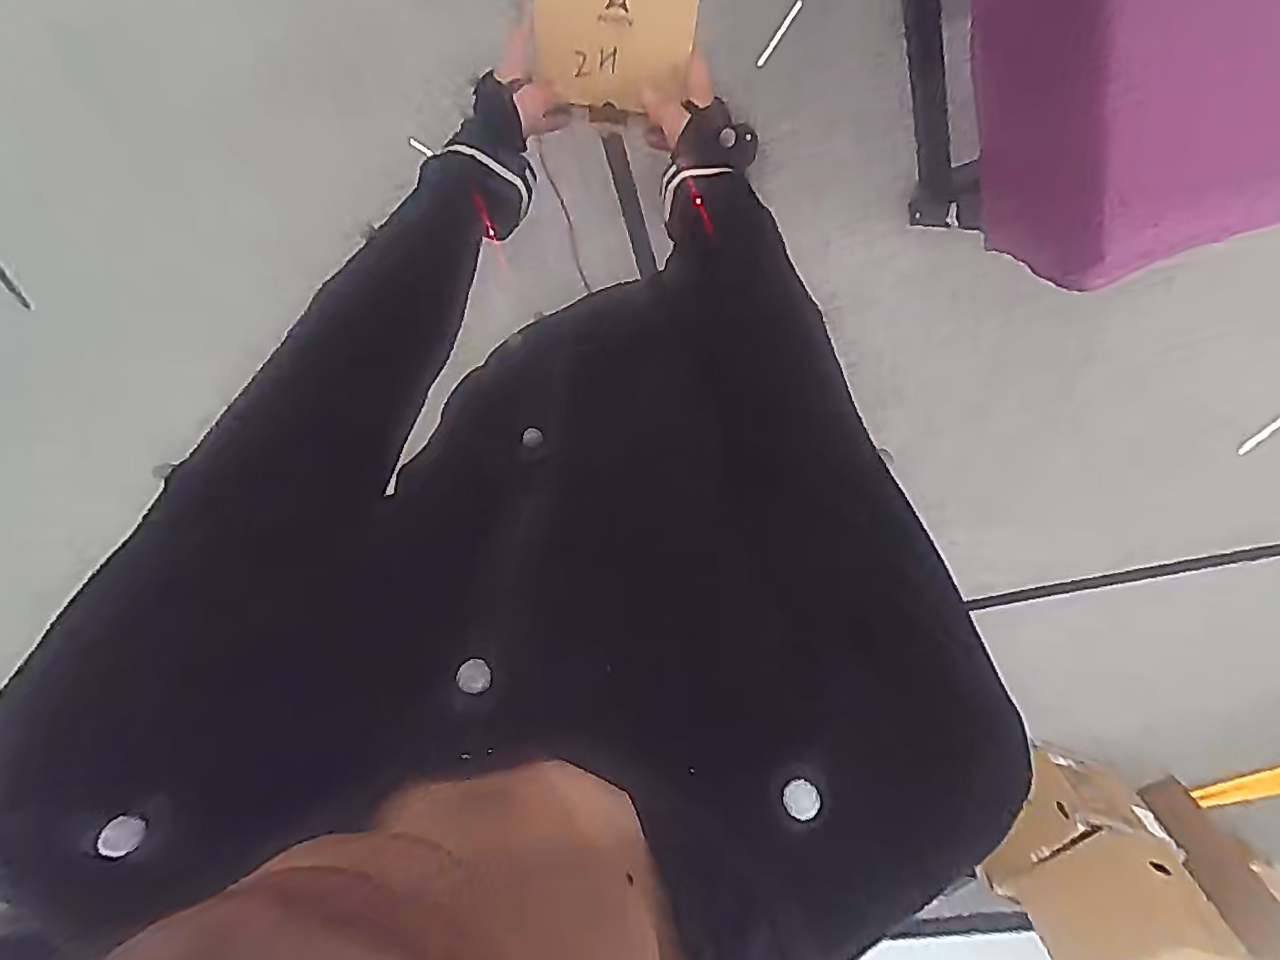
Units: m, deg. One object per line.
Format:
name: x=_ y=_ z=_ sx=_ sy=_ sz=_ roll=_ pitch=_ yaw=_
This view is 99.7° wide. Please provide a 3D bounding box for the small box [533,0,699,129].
small box: x=-0.028 y=-0.516 z=0.610 sx=0.168 sy=0.176 sz=0.179 roll=4 pitch=119 yaw=-6
